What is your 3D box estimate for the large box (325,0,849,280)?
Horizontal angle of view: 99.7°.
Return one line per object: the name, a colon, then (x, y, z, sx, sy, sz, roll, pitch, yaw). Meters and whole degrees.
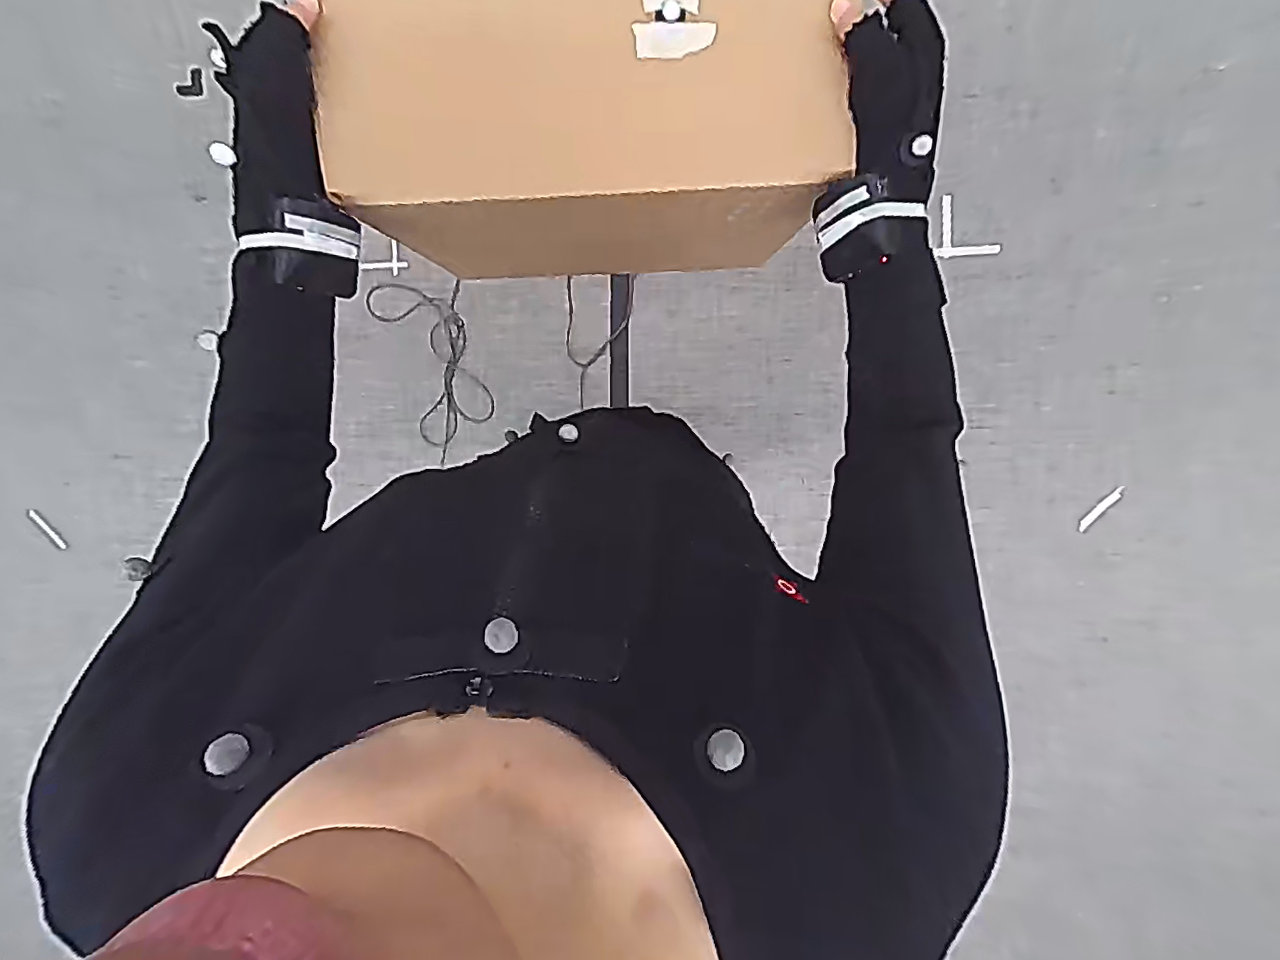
large box: (-0.043, -0.404, 0.552, 0.408, 0.320, 0.320, -3, 101, 0)
